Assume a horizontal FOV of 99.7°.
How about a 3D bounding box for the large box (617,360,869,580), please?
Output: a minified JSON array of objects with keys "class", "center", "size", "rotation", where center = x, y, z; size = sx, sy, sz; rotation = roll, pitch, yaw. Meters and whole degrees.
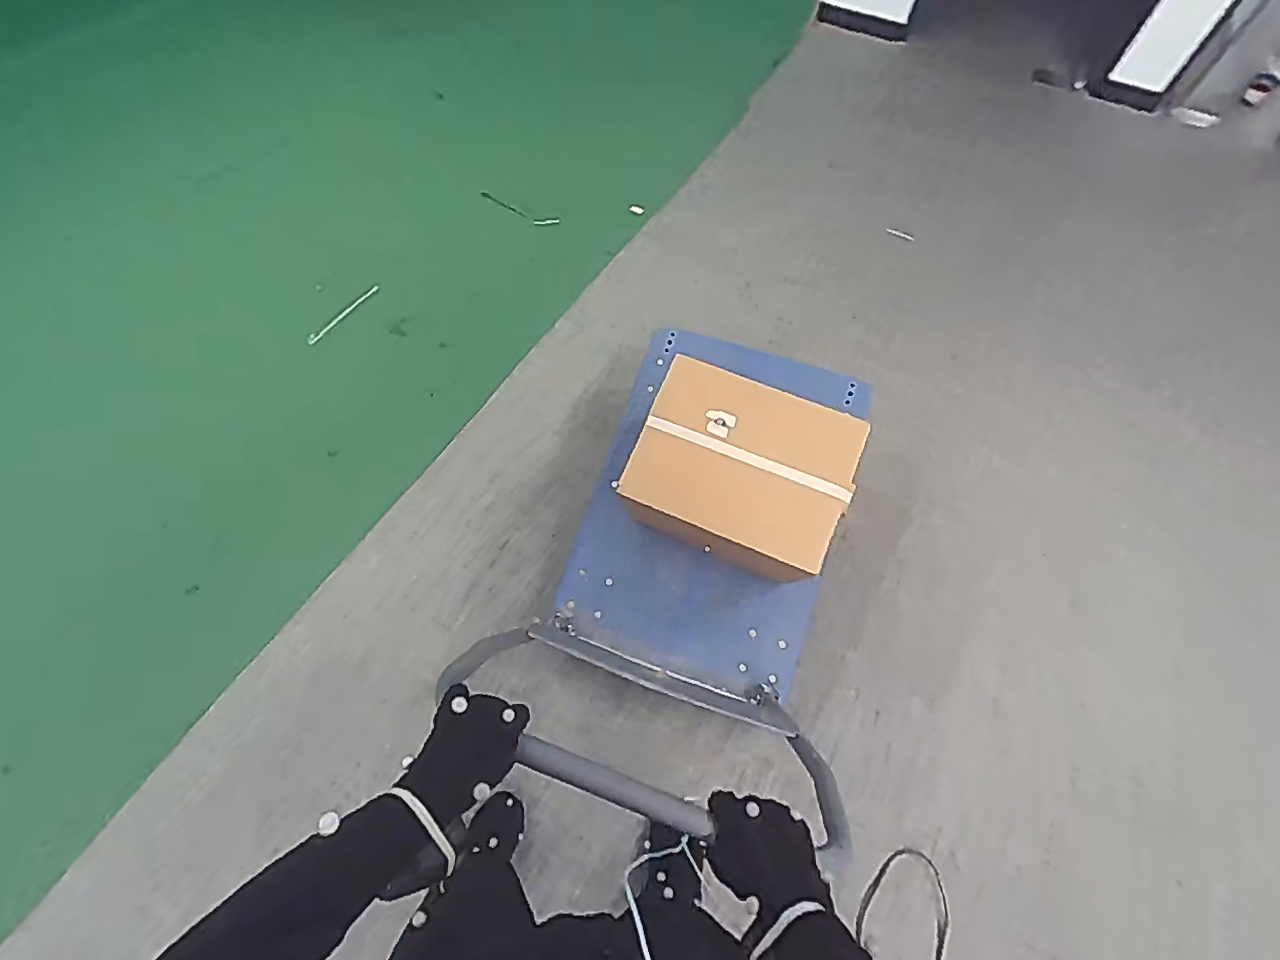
[{"class":"large box","center":[0.212,-0.002,1.172],"size":[0.408,0.320,0.320],"rotation":[23,79,10]}]
